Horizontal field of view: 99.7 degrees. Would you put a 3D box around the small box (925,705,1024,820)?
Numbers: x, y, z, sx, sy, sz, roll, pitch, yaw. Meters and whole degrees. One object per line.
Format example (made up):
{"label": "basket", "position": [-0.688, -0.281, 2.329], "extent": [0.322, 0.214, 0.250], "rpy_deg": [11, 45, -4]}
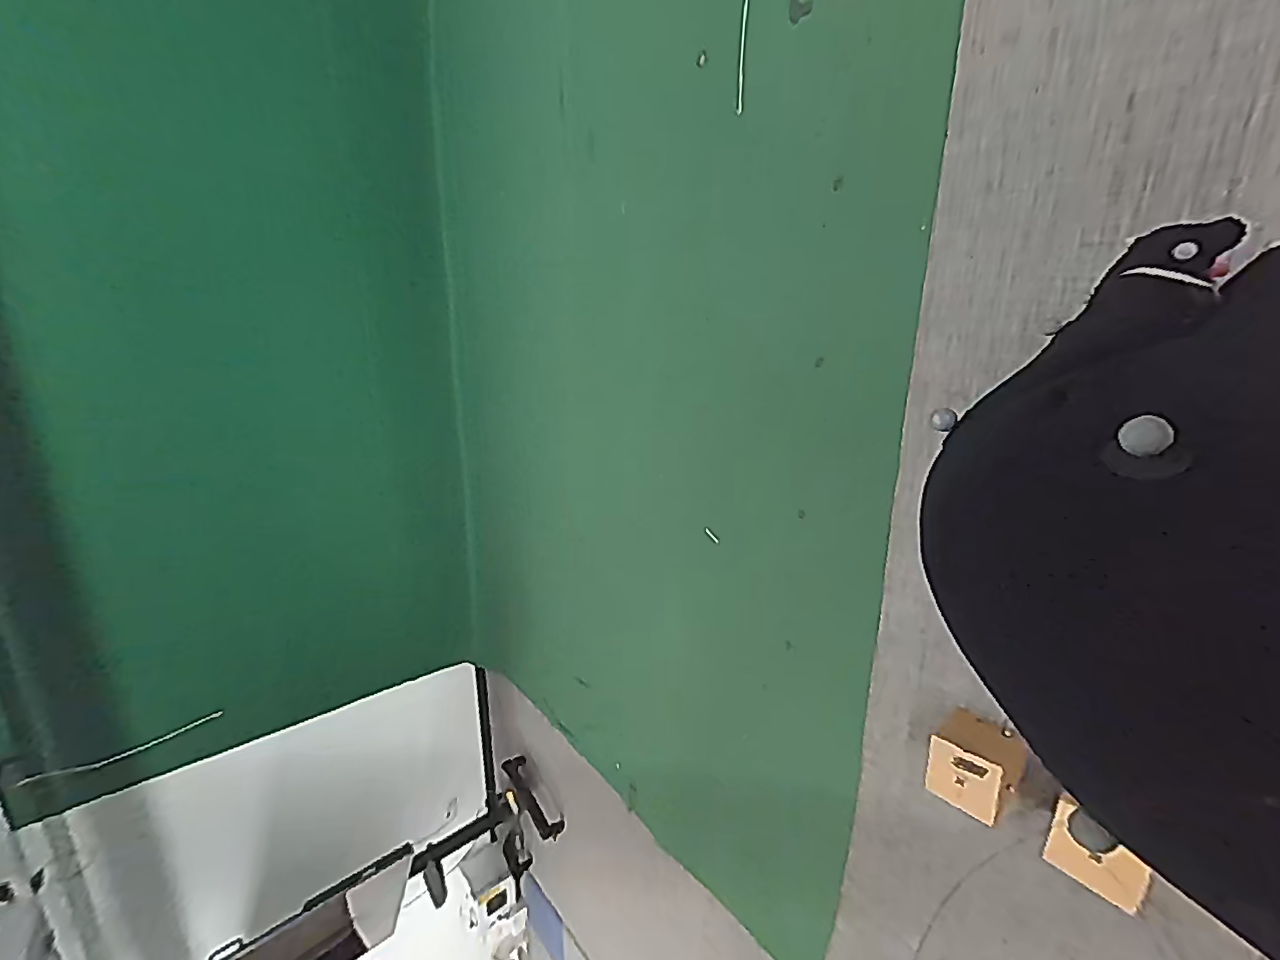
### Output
{"label": "small box", "position": [0.881, 0.730, 1.421], "extent": [0.168, 0.176, 0.179], "rpy_deg": [16, 112, 49]}

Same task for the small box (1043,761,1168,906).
{"label": "small box", "position": [1.051, 0.787, 1.221], "extent": [0.168, 0.176, 0.179], "rpy_deg": [21, 114, 48]}
